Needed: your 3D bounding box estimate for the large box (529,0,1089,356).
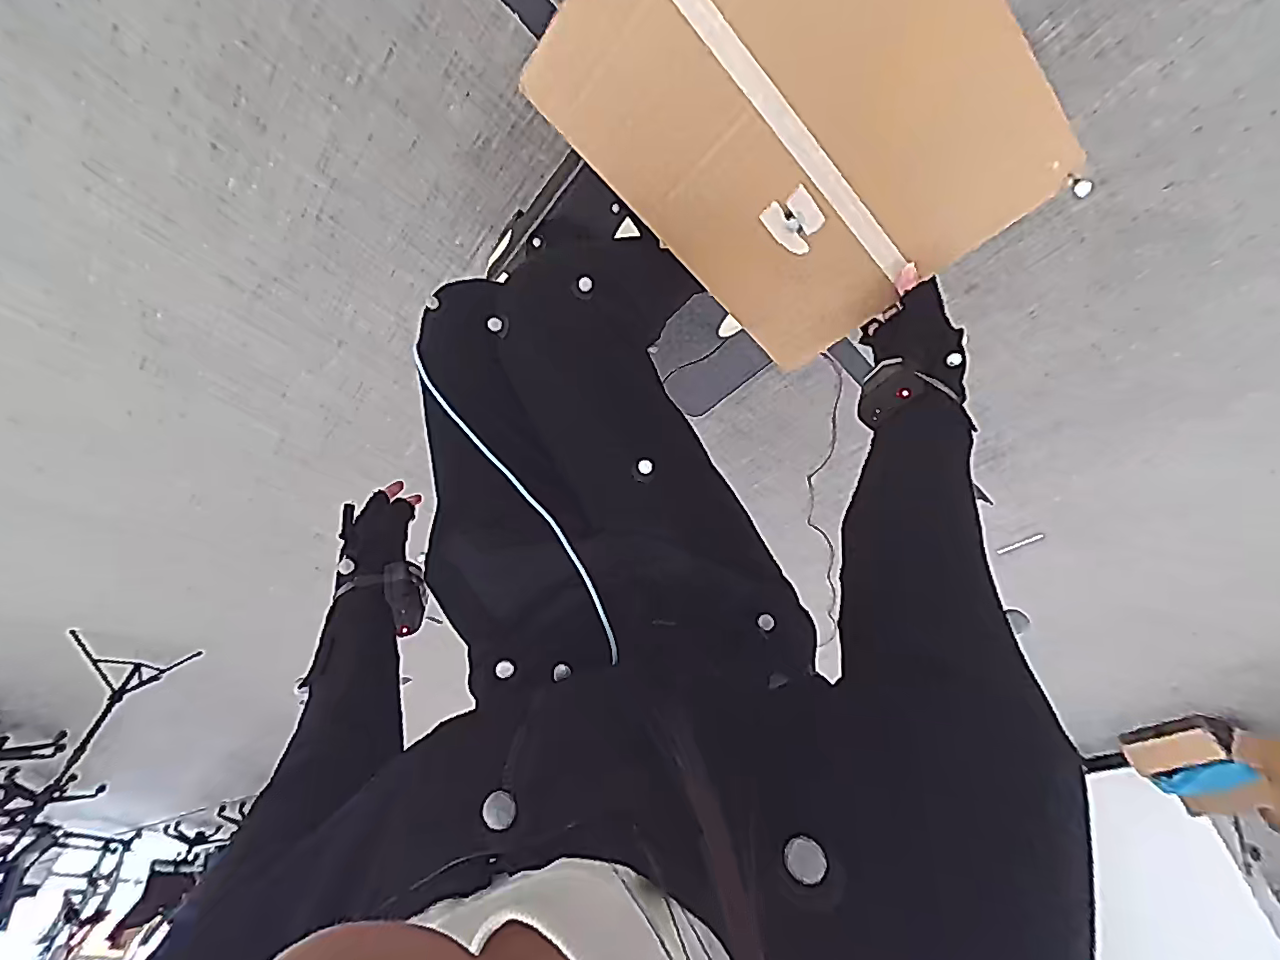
[{"bbox_3d":[0.166,-0.428,0.582,0.408,0.320,0.320,39,133,-21],"label":"large box"}]
